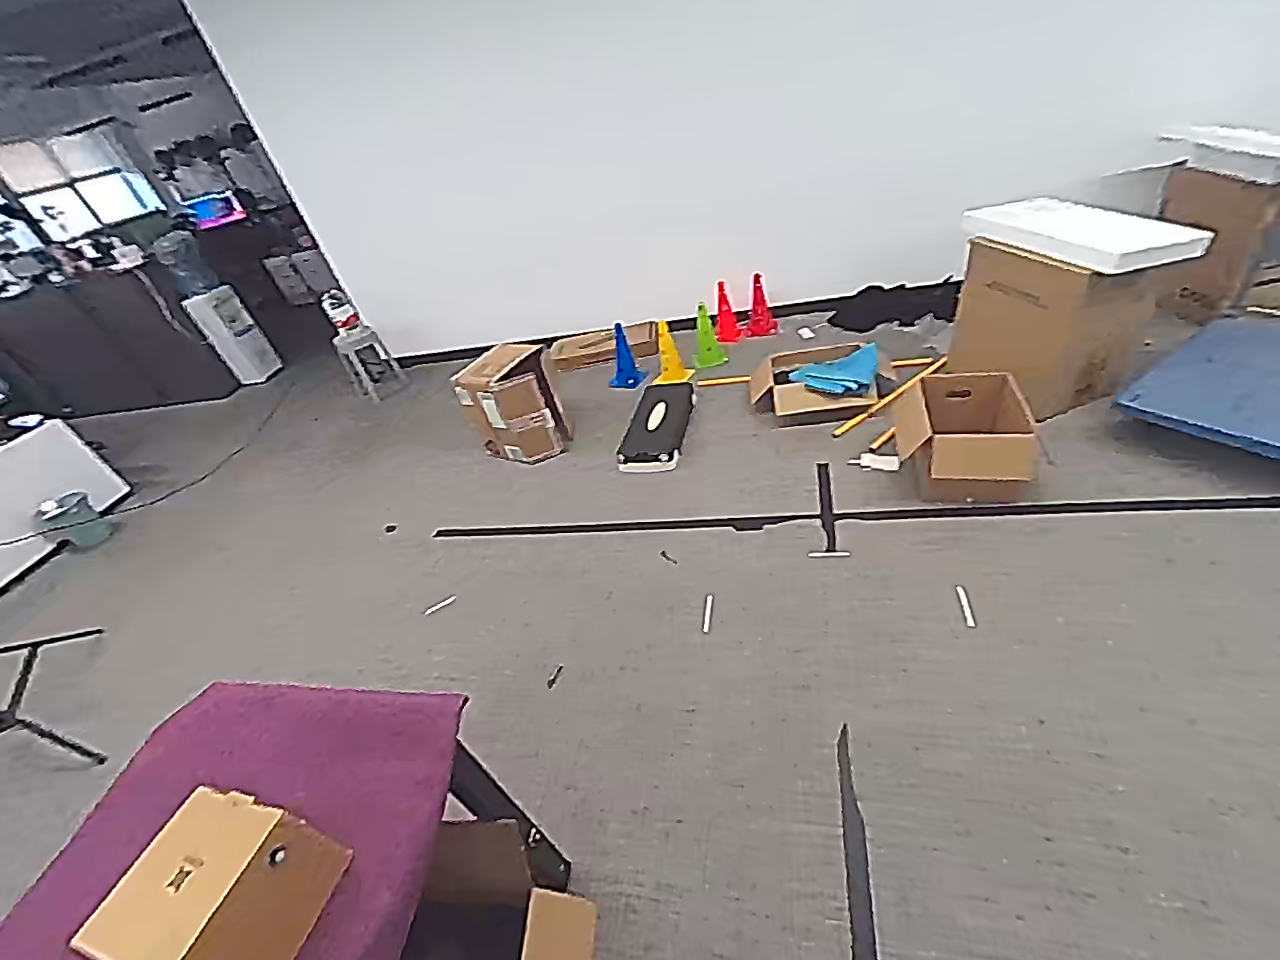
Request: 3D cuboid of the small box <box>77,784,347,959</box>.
[{"bbox_3d":[-0.526,0.531,0.694,0.168,0.176,0.179,0,40,20],"label":"small box"}]
